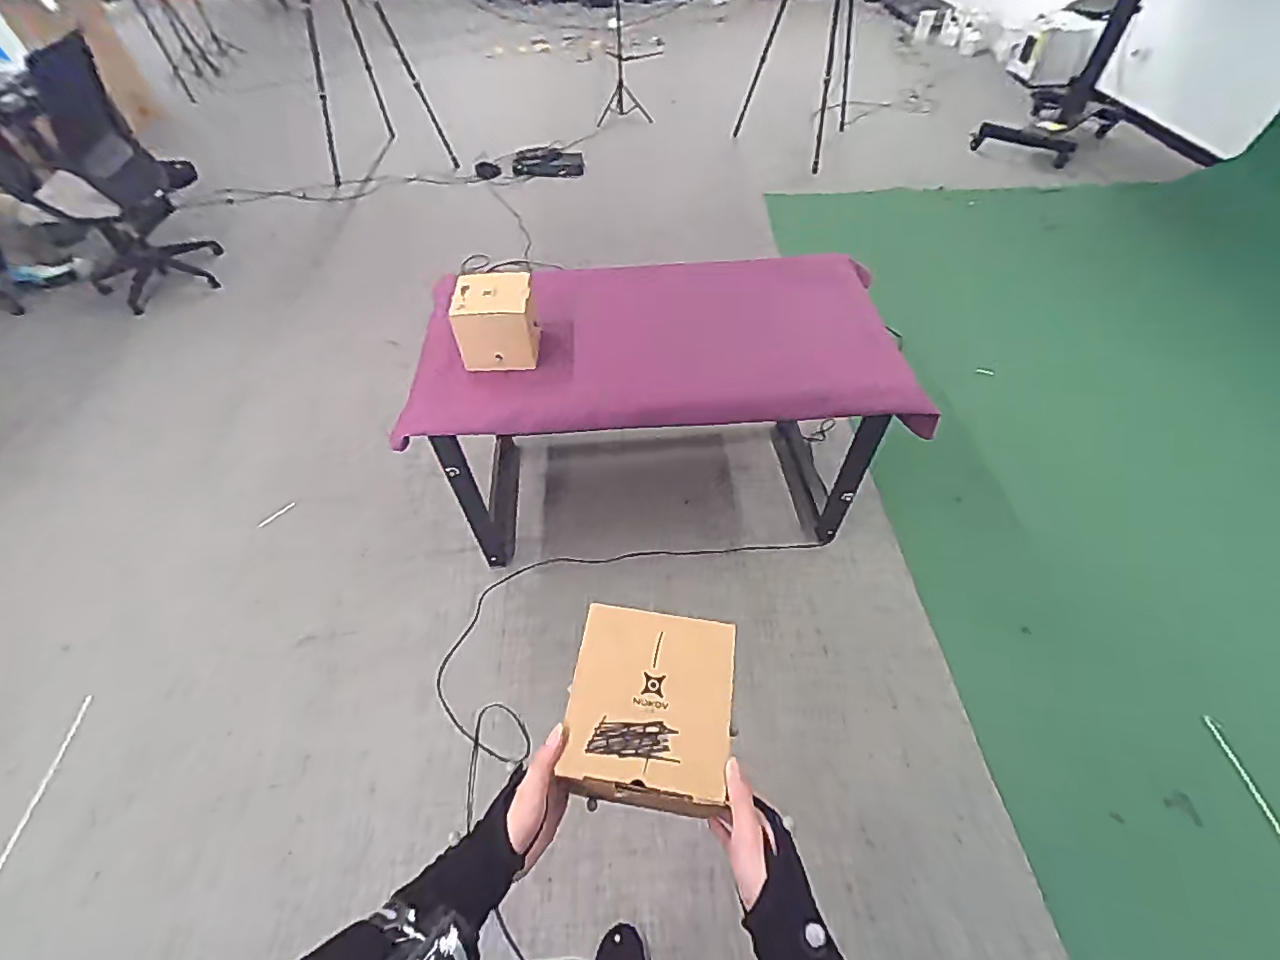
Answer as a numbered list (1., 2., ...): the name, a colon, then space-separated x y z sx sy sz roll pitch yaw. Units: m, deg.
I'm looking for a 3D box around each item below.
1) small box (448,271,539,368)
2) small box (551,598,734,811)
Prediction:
1. small box: -0.348 -0.390 1.324 0.179 0.176 0.168 -2 52 -2
2. small box: 0.009 0.258 0.612 0.168 0.176 0.179 8 53 4
